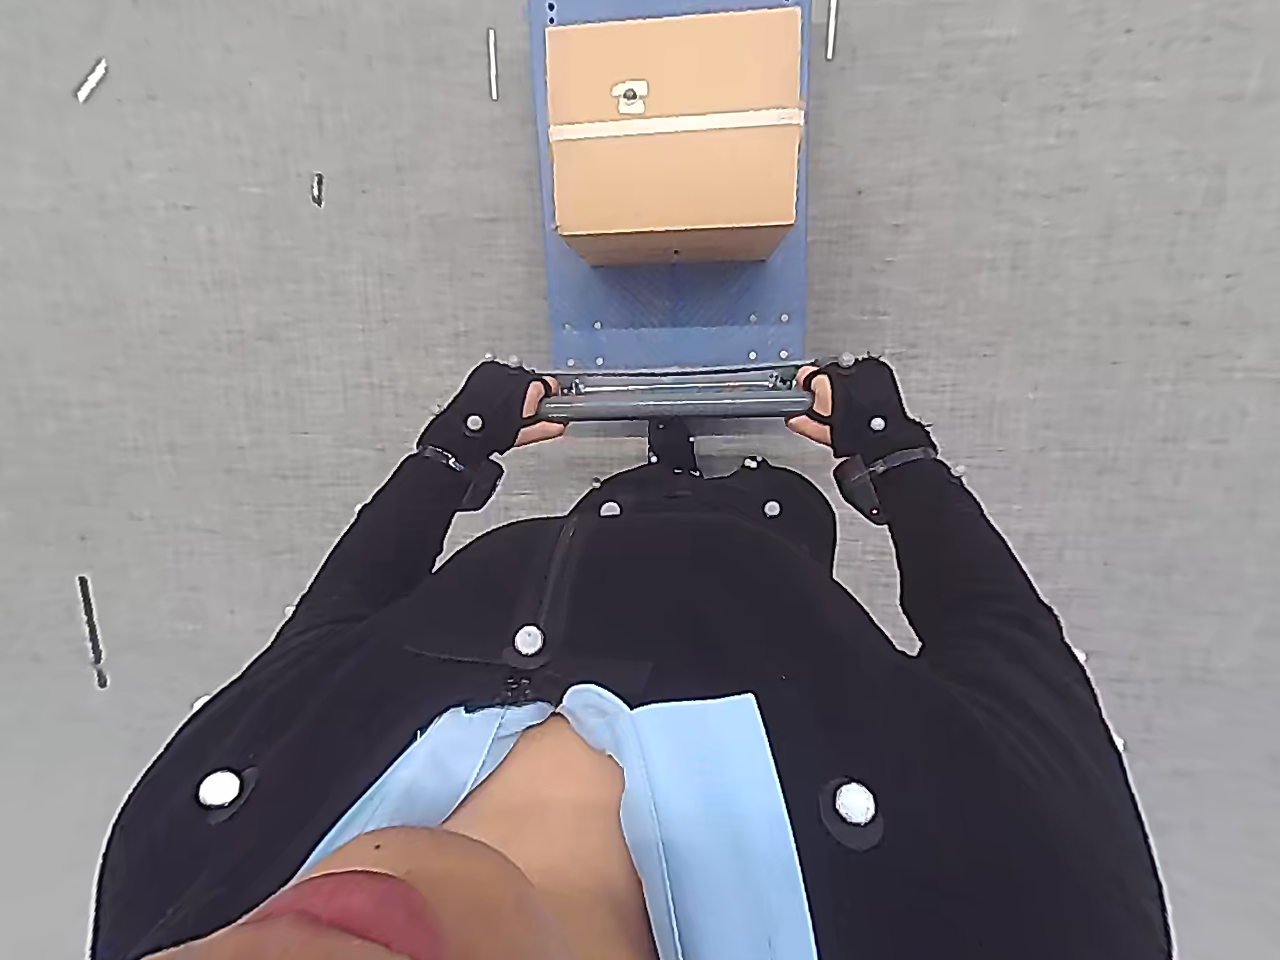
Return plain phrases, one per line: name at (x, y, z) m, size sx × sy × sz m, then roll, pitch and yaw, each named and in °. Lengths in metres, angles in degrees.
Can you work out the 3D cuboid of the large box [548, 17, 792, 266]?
large box at (0.067, -0.609, 1.047) m, size 0.408 × 0.320 × 0.320 m, roll 0°, pitch 101°, yaw 6°
